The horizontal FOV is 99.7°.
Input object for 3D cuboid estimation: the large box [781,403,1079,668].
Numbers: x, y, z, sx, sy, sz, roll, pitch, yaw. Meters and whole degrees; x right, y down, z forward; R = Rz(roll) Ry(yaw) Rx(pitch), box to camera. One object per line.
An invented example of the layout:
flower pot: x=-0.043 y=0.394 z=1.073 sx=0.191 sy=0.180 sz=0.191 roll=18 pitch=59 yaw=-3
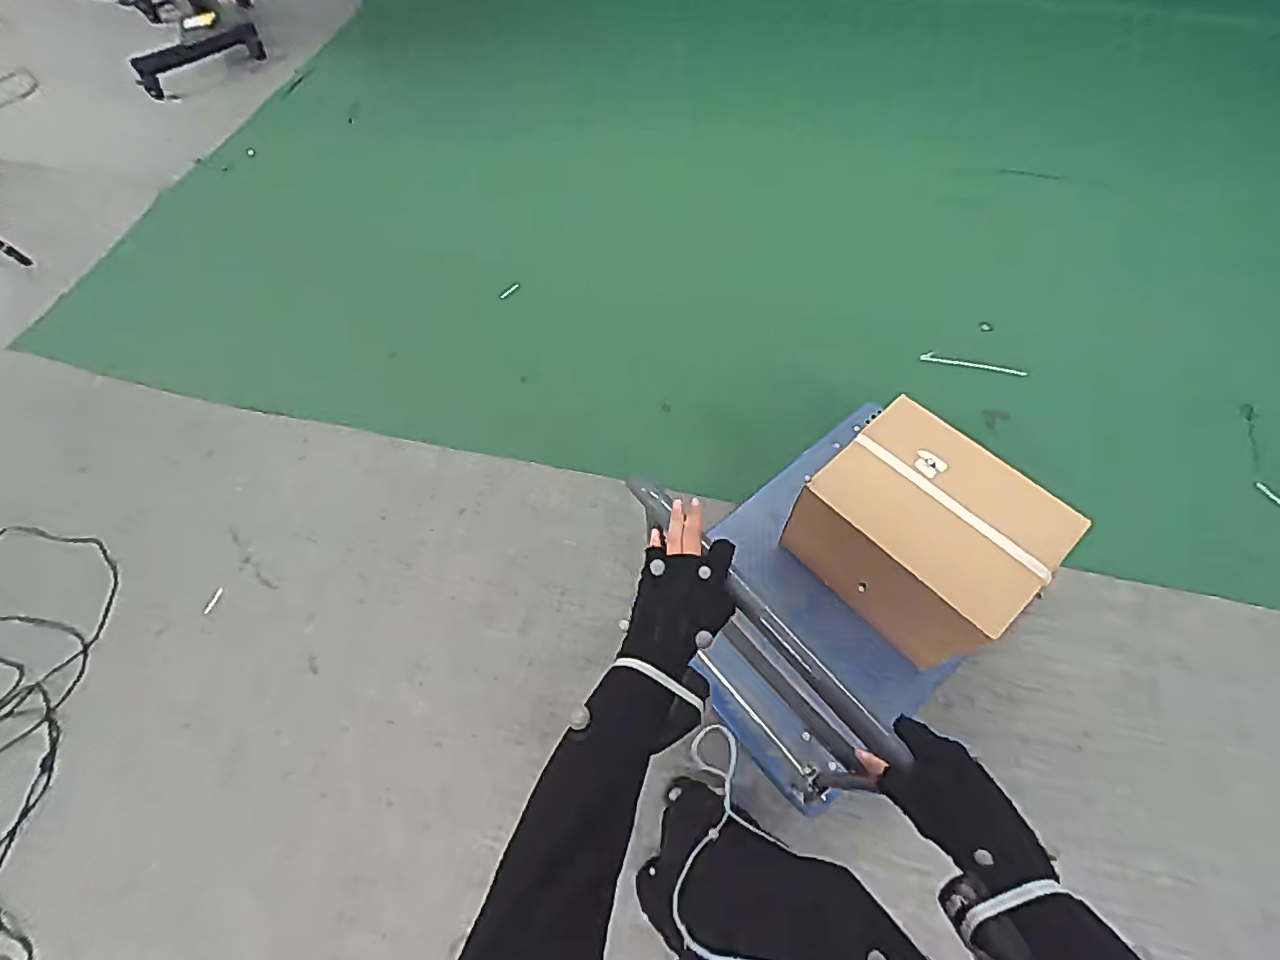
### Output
large box: x=0.570 y=0.122 z=1.148 sx=0.320 sy=0.320 sz=0.408 roll=-39 pitch=65 yaw=-17
